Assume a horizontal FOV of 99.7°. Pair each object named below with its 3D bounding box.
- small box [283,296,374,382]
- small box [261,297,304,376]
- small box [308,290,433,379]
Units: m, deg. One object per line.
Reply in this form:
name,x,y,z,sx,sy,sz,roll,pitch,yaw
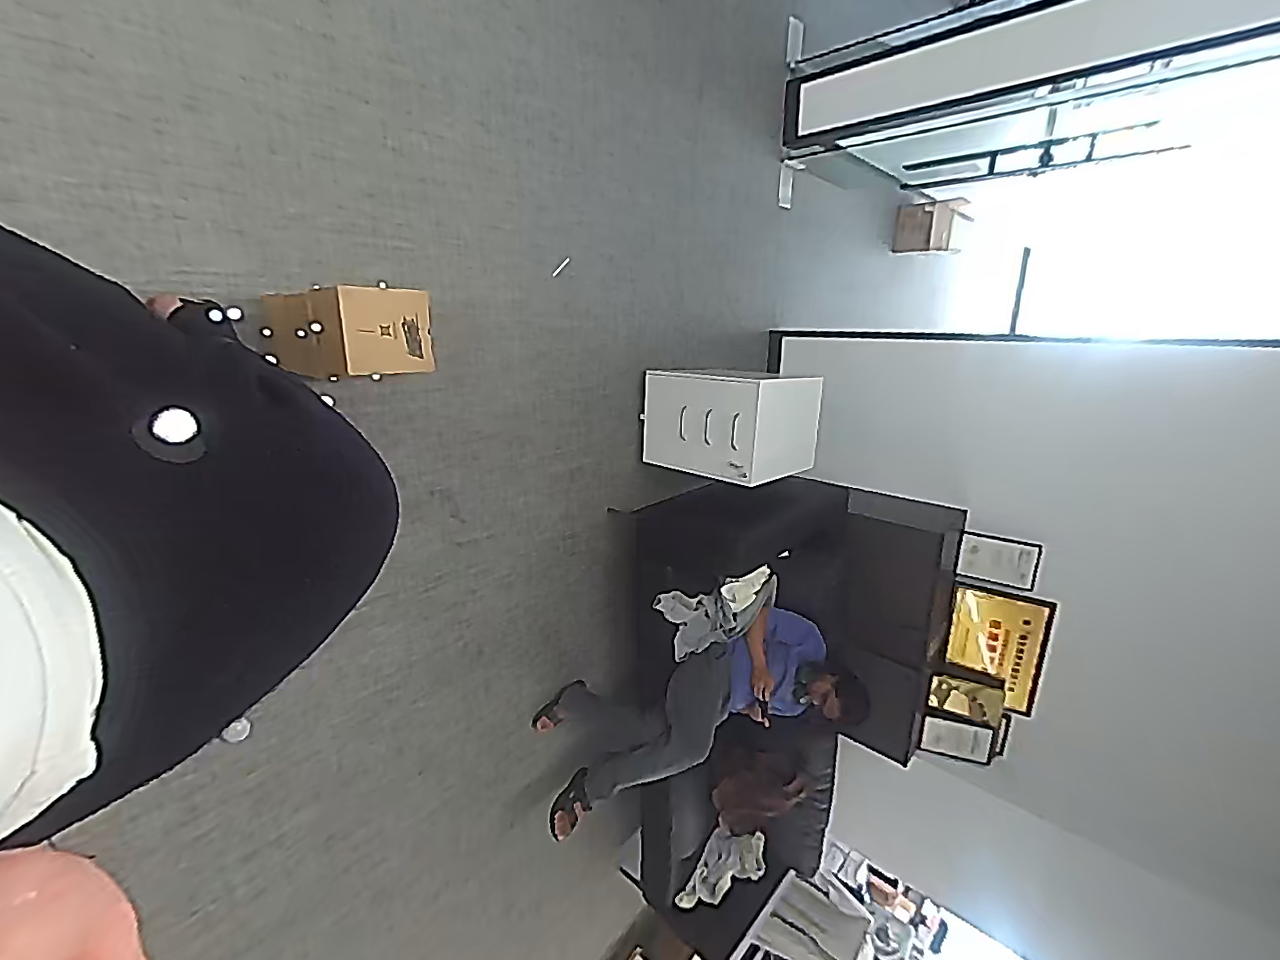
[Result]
small box,-0.685,-0.323,1.227,0.168,0.176,0.179,-18,117,-45
small box,-0.804,-0.354,1.330,0.168,0.176,0.179,-16,114,-46
small box,-0.557,-0.302,1.122,0.179,0.176,0.168,-15,112,-45
